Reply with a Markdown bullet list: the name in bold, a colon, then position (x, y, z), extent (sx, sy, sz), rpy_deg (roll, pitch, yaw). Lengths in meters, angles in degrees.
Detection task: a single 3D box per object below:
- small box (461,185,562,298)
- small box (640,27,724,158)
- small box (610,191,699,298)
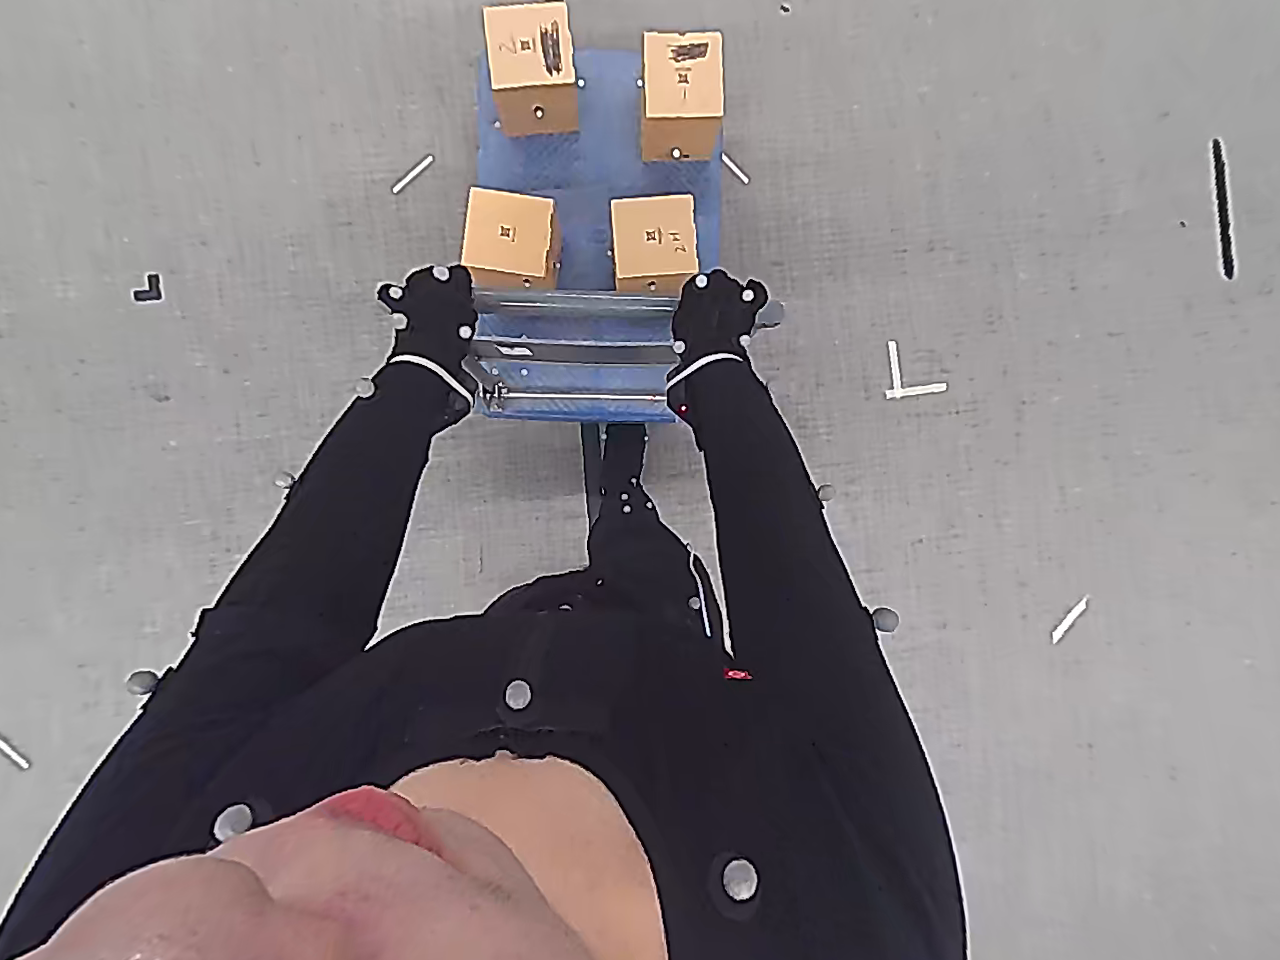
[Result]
- **small box**: position (-0.275, -0.515, 1.189), extent (0.179, 0.176, 0.168), rpy_deg (7, 91, -3)
- **small box**: position (0.087, -0.848, 1.195), extent (0.168, 0.176, 0.179), rpy_deg (-2, 92, -2)
- **small box**: position (0.029, -0.513, 1.200), extent (0.179, 0.176, 0.168), rpy_deg (-5, 91, -2)
